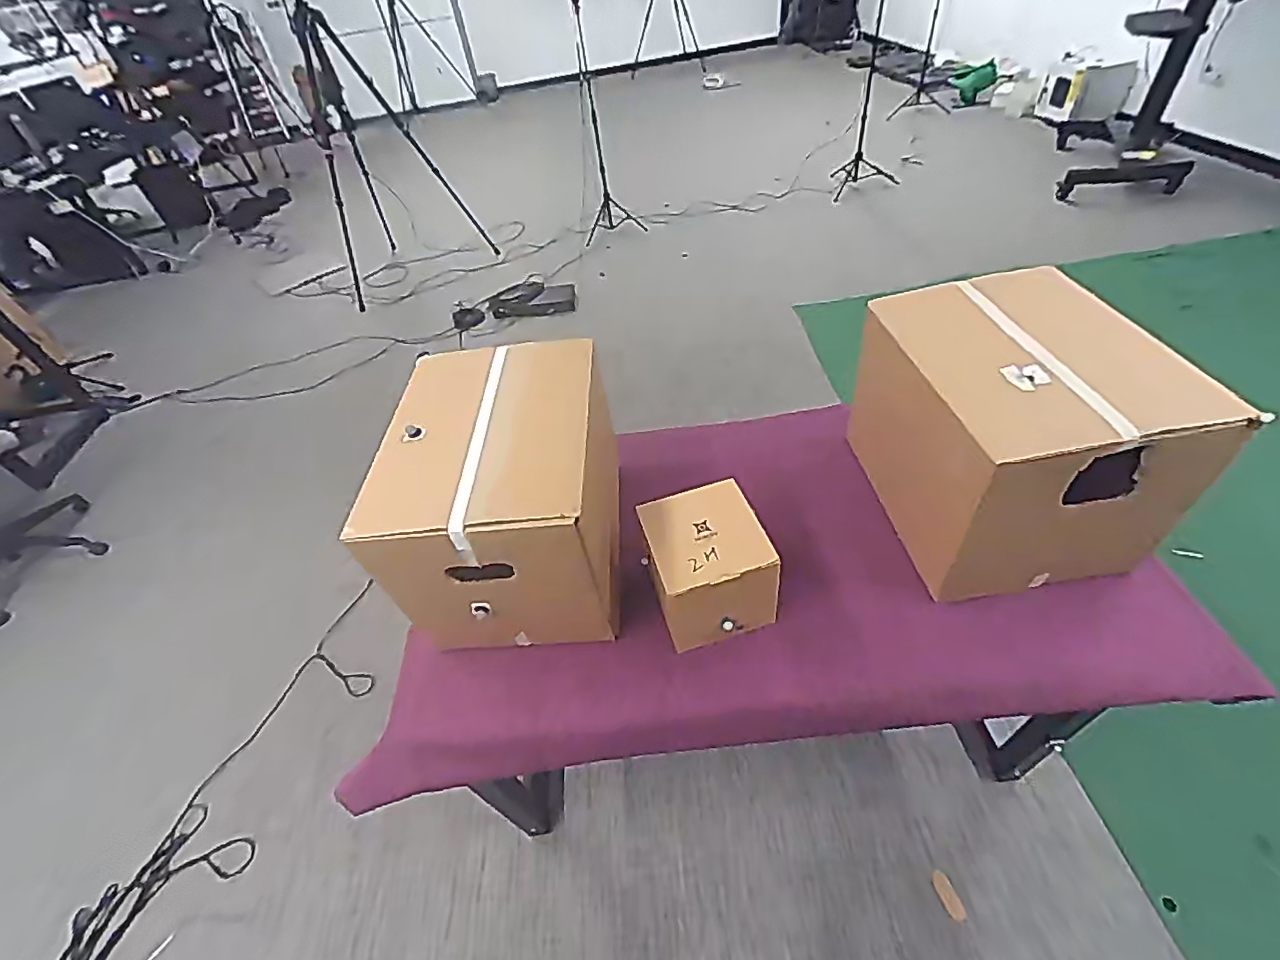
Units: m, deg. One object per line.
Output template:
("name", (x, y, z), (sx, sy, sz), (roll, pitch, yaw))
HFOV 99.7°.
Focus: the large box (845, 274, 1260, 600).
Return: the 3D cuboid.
("large box", (0.570, -0.076, 0.873), (0.320, 0.320, 0.408), (-11, 46, 3))
